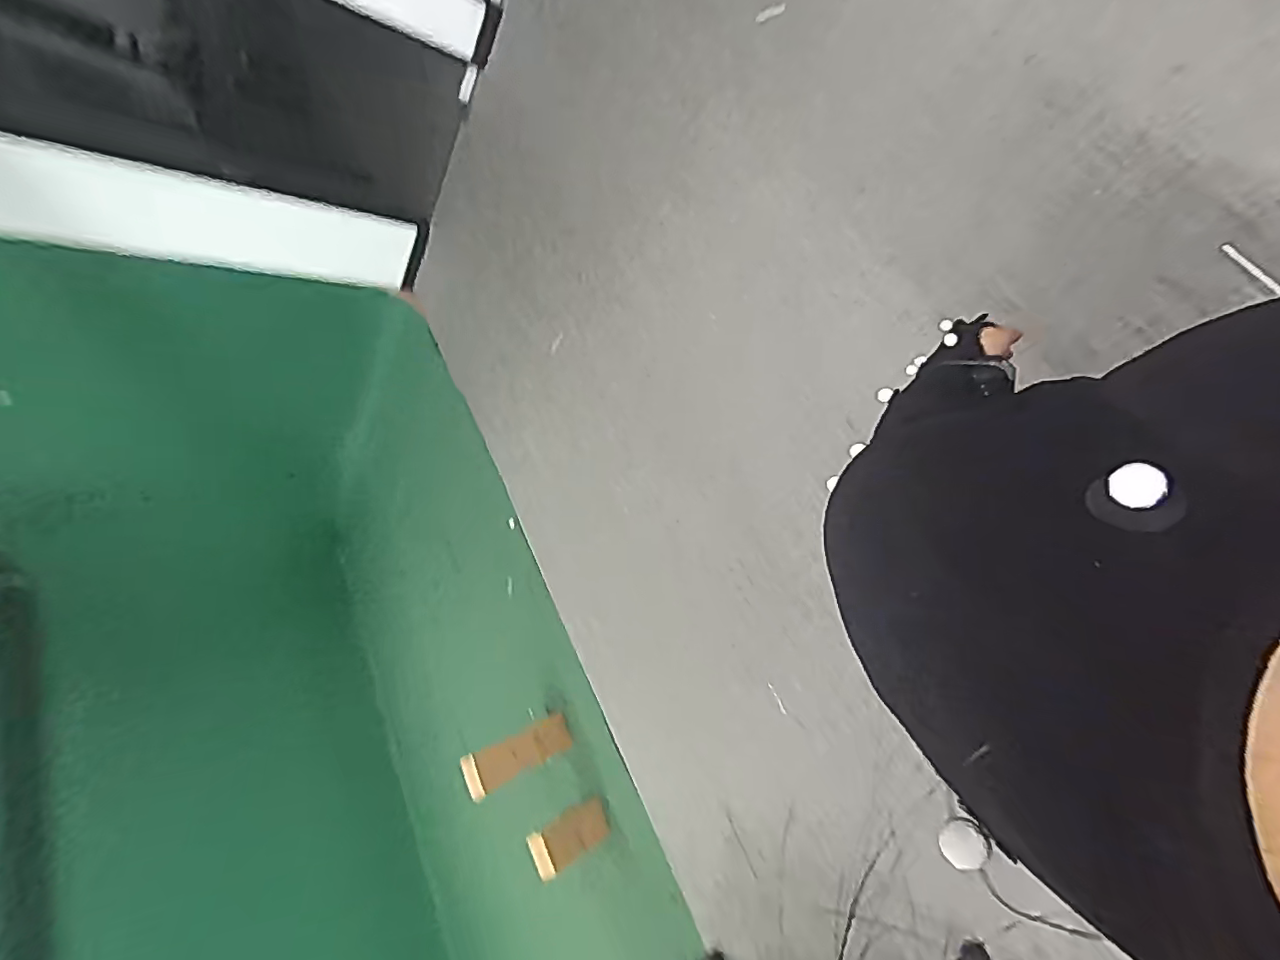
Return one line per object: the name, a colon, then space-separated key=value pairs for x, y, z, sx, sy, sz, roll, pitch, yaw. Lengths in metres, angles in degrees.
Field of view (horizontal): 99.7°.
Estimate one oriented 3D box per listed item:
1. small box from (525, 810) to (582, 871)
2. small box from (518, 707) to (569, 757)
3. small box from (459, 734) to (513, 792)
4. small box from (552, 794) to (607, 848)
small box: x=-0.400 y=1.660 z=2.497 sx=0.168 sy=0.176 sz=0.179 roll=-48 pitch=63 yaw=39
small box: x=-0.493 y=1.288 z=2.776 sx=0.168 sy=0.176 sz=0.179 roll=-41 pitch=67 yaw=40
small box: x=-0.722 y=1.331 z=2.545 sx=0.168 sy=0.176 sz=0.179 roll=-43 pitch=67 yaw=41
small box: x=-0.291 y=1.649 z=2.617 sx=0.168 sy=0.176 sz=0.179 roll=-39 pitch=69 yaw=42
